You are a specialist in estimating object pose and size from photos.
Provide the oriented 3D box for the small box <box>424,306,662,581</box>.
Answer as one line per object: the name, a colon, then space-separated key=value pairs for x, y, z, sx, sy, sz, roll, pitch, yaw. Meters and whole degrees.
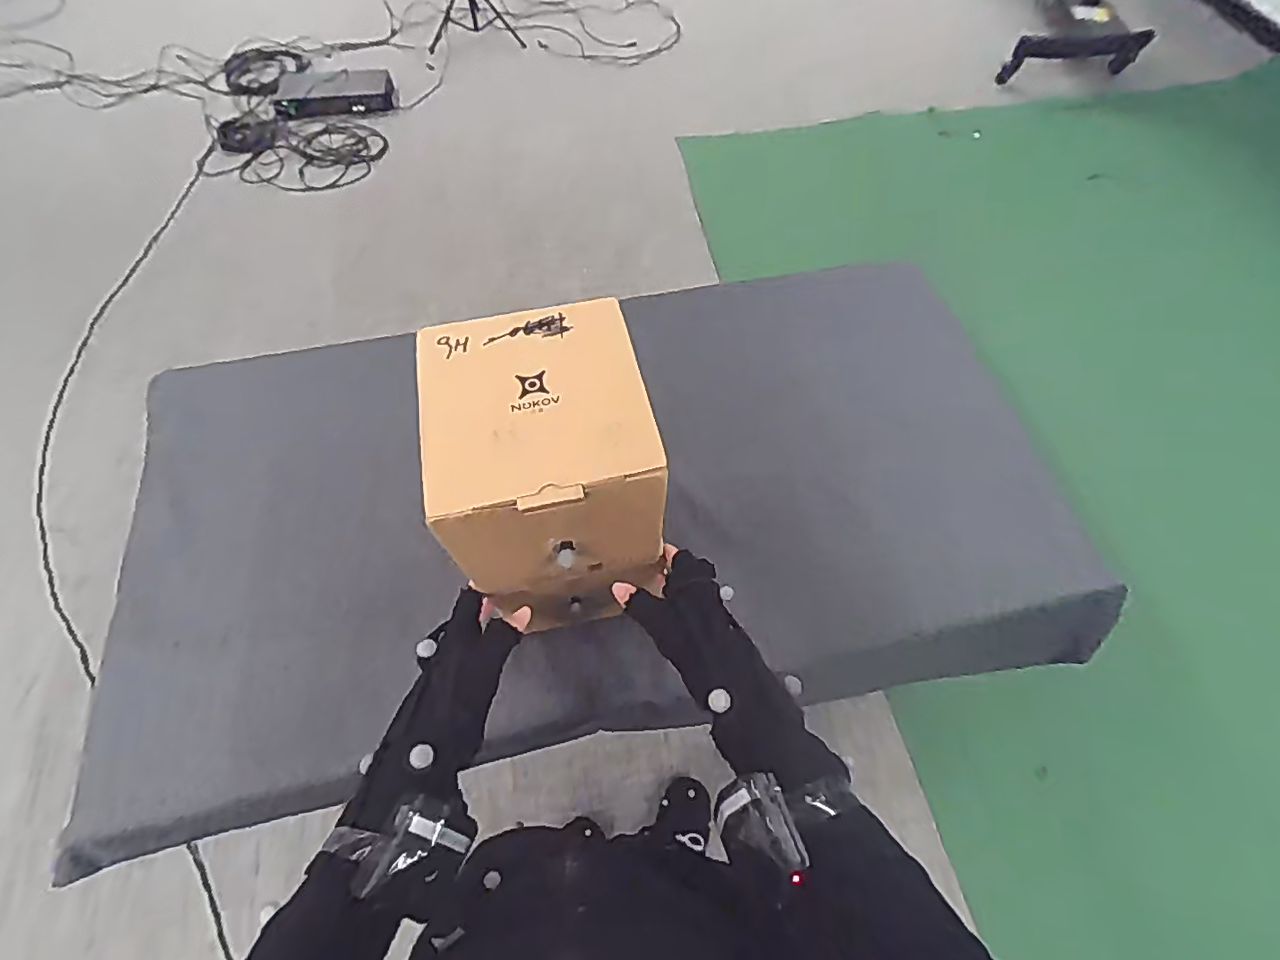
small box: x=-0.080 y=-0.021 z=0.483 sx=0.168 sy=0.176 sz=0.179 roll=-11 pitch=62 yaw=-7

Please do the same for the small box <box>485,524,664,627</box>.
small box: x=-0.077 y=0.058 z=0.626 sx=0.179 sy=0.176 sz=0.168 roll=-10 pitch=61 yaw=-6
